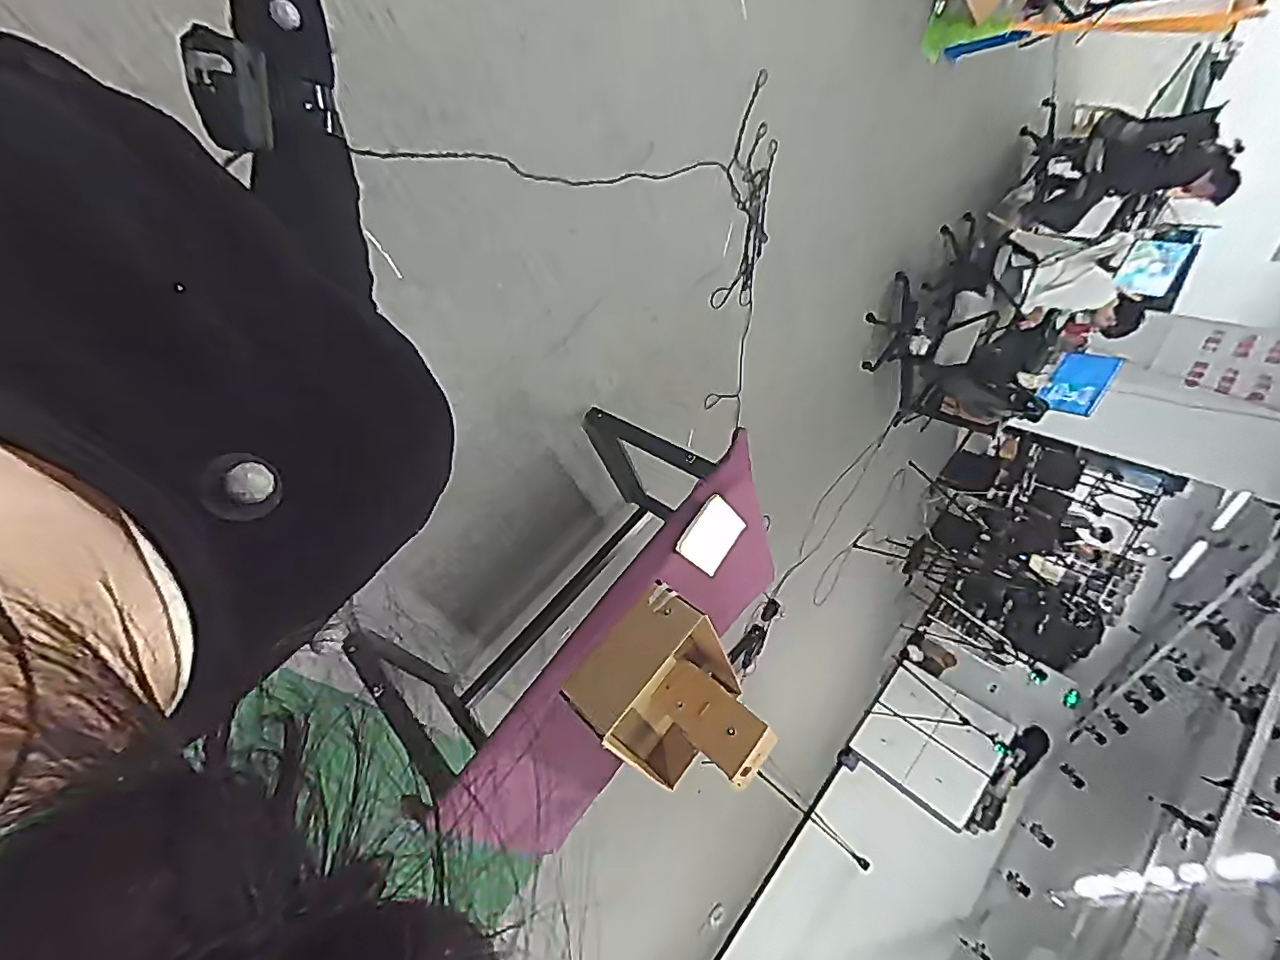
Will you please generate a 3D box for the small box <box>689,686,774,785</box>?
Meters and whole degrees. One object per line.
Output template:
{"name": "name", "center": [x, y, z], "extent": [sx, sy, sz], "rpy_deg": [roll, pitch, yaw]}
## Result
{"name": "small box", "center": [0.262, 0.743, 1.579], "extent": [0.179, 0.176, 0.168], "rpy_deg": [-49, 140, -17]}
